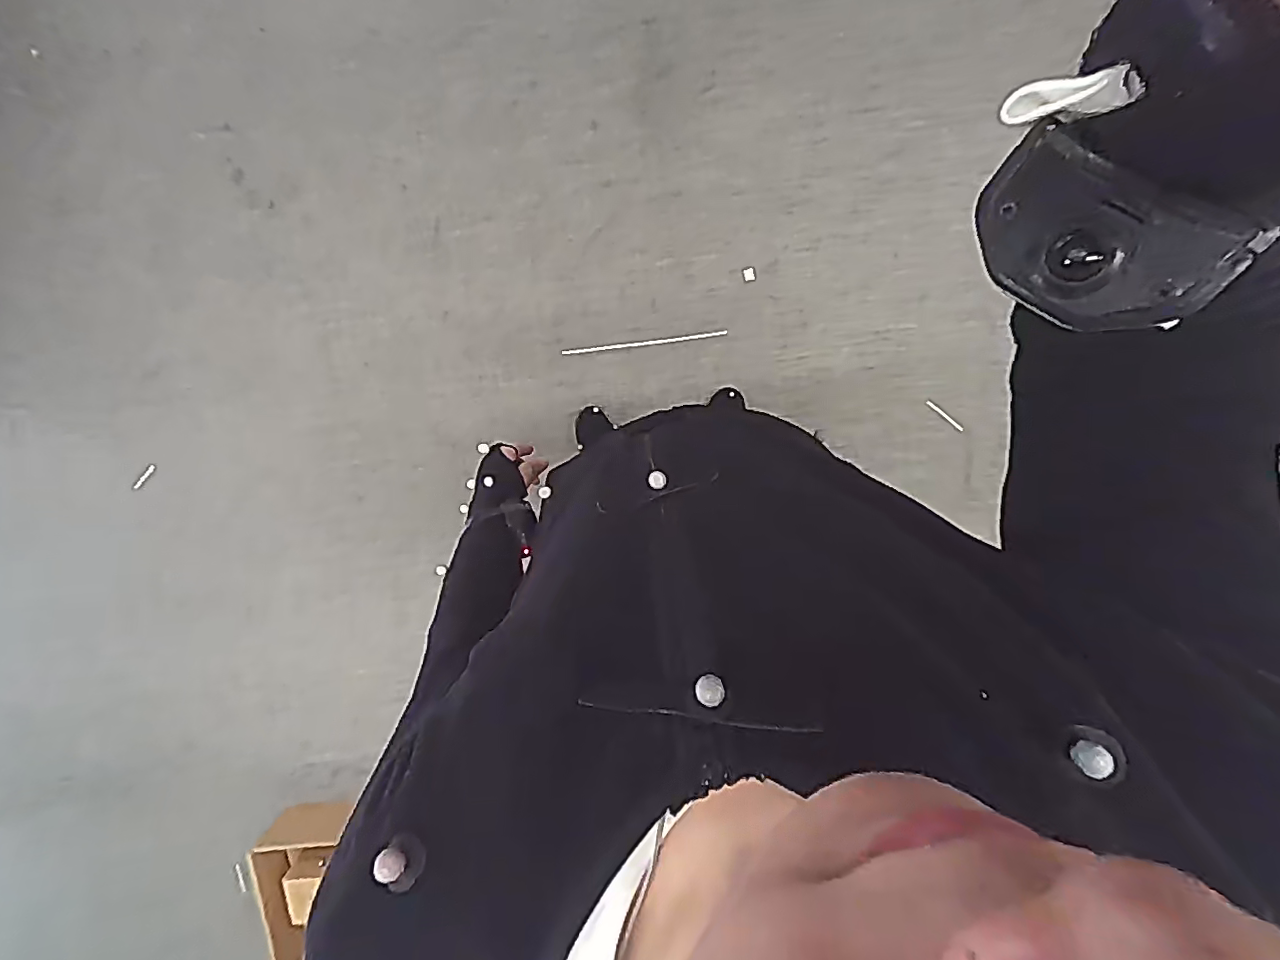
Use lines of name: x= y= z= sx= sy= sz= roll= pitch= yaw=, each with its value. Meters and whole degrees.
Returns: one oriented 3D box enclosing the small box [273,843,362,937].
small box: x=-0.988 y=1.265 z=1.679 sx=0.179 sy=0.176 sz=0.168 roll=-4 pitch=99 yaw=0
